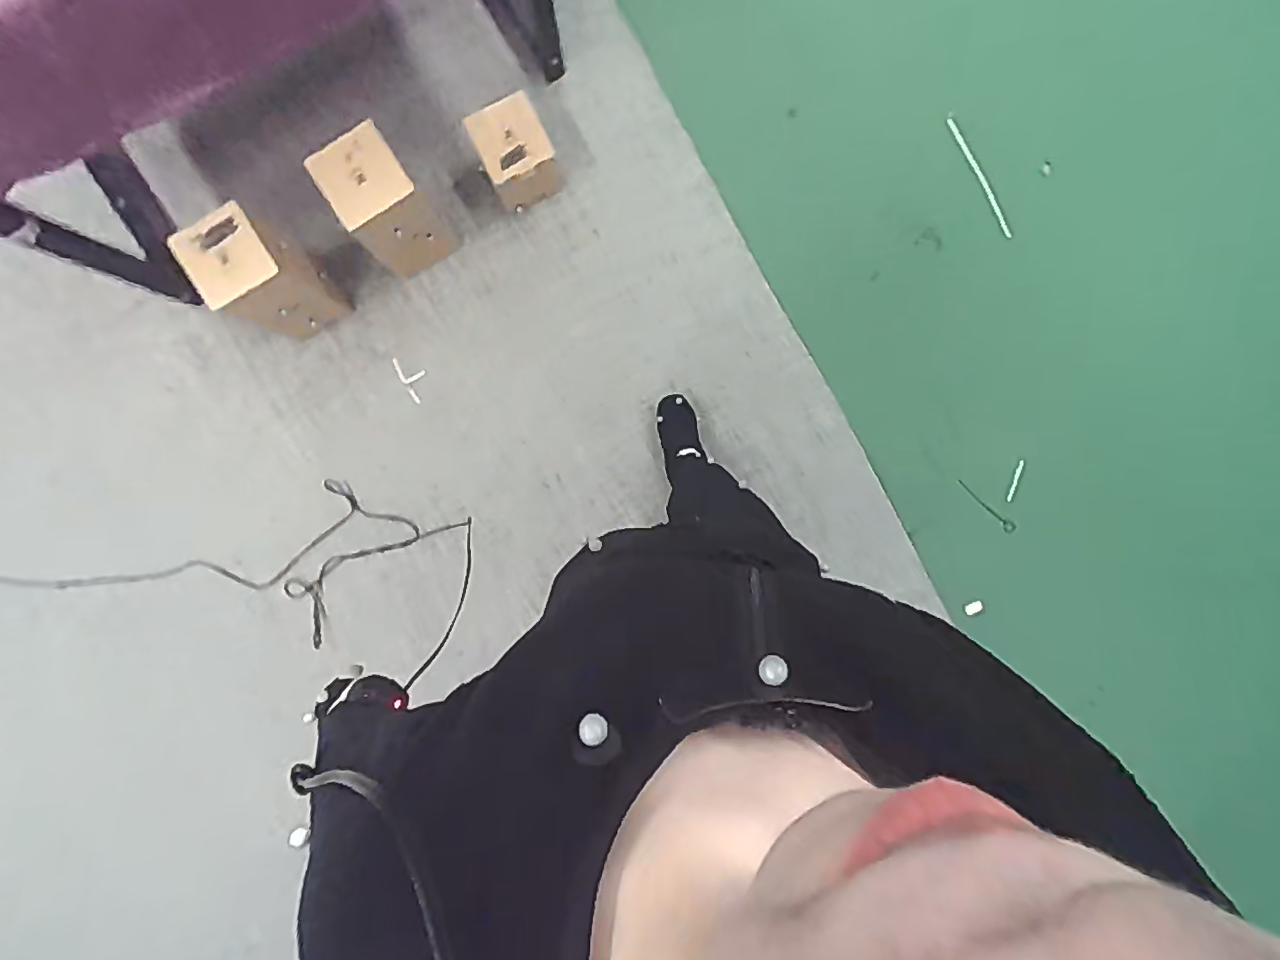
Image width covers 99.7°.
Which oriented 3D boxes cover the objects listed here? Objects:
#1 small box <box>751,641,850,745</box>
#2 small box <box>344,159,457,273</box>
[{"bbox_3d":[0.417,0.552,1.438,0.168,0.176,0.179,-30,93,1],"label":"small box"},{"bbox_3d":[-0.599,-0.662,1.378,0.179,0.176,0.168,-31,93,-1],"label":"small box"}]
